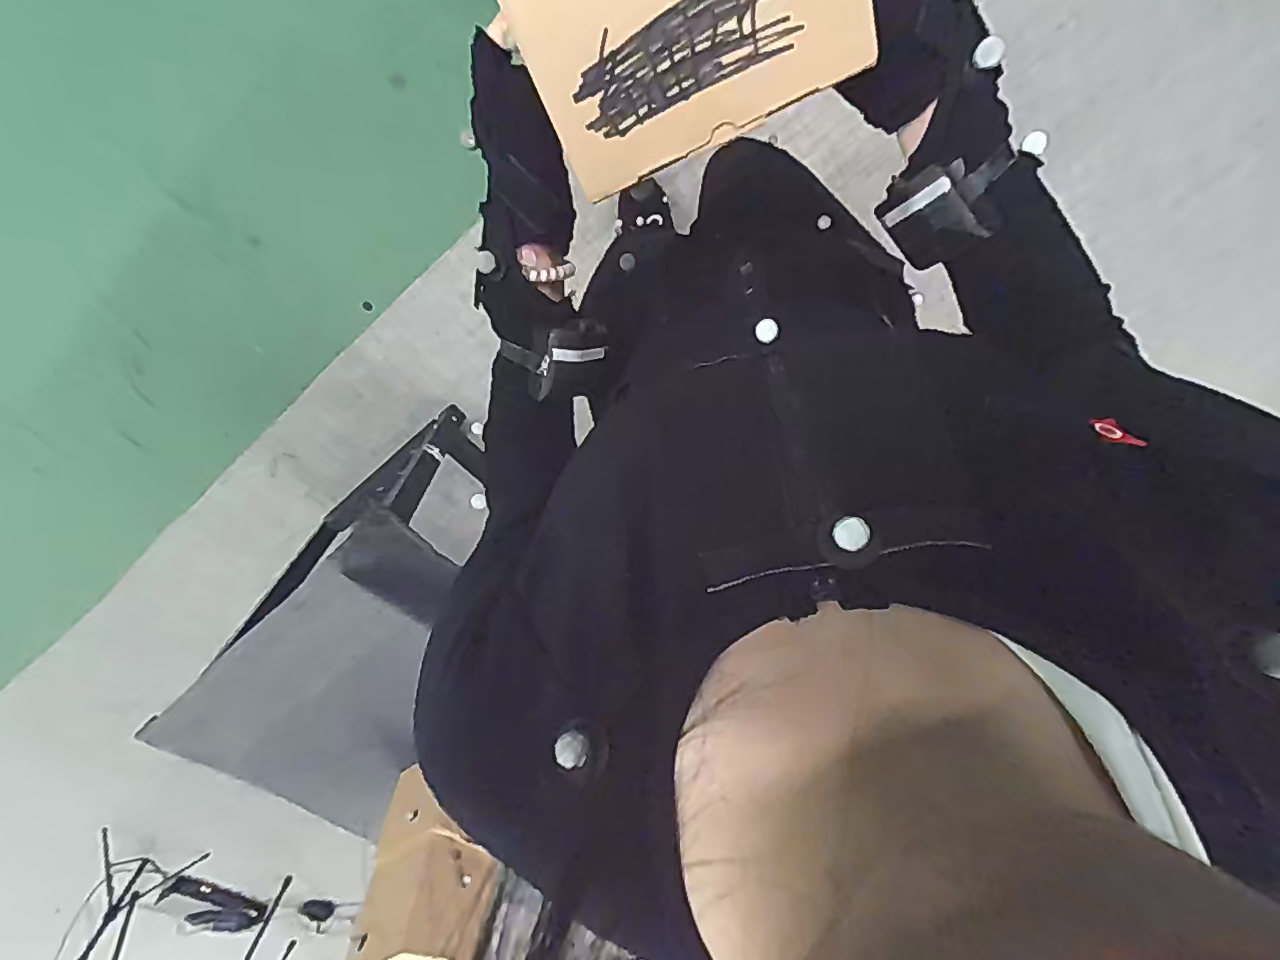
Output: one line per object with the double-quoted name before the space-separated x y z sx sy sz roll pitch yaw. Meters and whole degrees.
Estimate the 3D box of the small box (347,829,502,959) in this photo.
"small box" -0.361 0.747 0.937 0.179 0.176 0.168 -38 116 18

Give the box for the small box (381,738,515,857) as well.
"small box" -0.365 0.645 1.067 0.179 0.176 0.168 -36 116 19
